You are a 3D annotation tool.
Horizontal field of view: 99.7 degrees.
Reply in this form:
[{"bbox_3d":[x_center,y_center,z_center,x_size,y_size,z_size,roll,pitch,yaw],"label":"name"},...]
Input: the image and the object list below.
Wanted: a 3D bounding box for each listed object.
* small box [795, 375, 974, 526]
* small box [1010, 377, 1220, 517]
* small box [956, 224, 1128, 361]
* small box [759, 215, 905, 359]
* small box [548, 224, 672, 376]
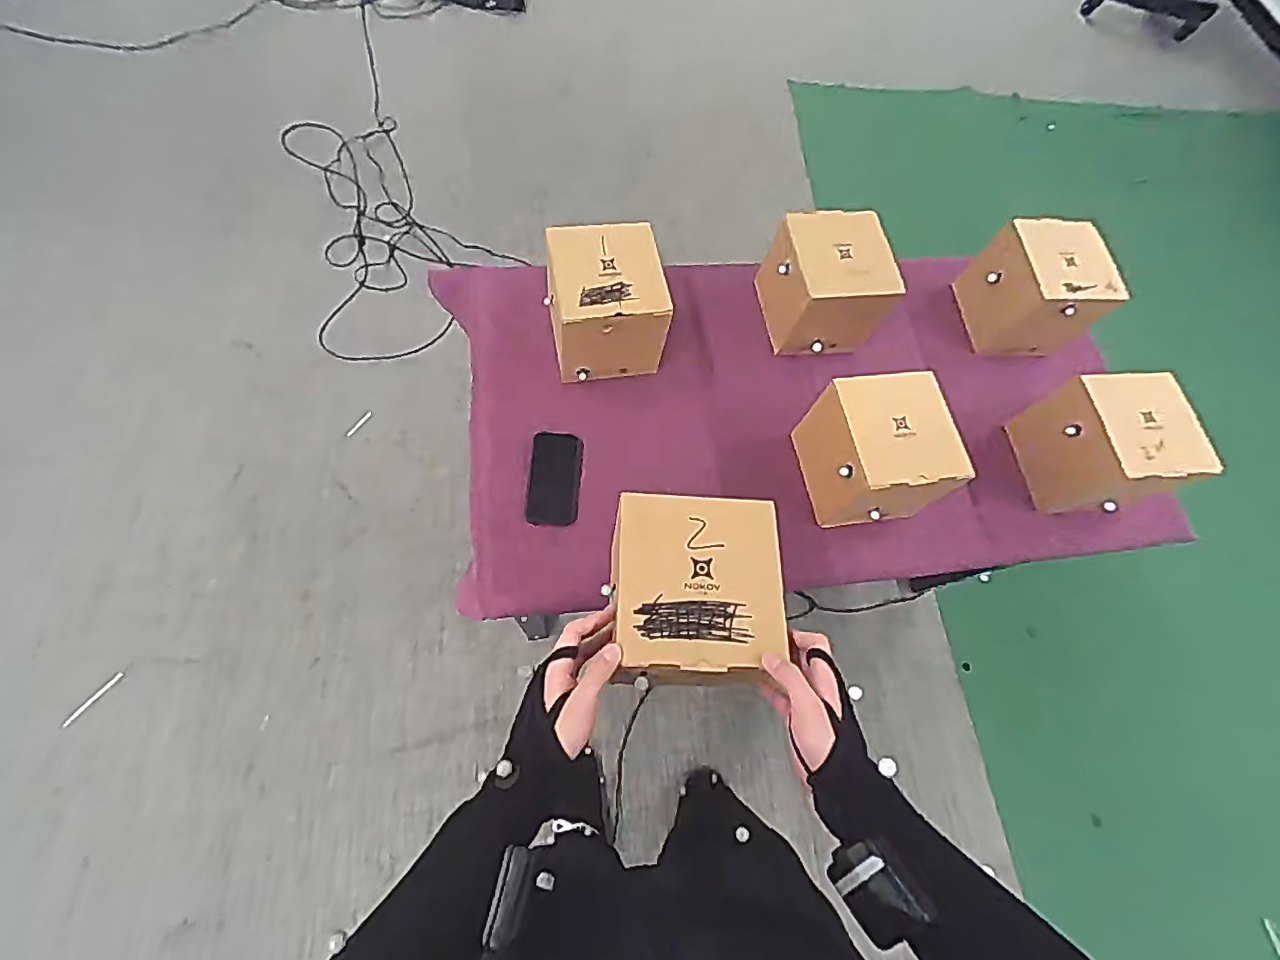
[{"bbox_3d":[0.360,-0.042,0.838,0.168,0.176,0.179,-5,68,-10],"label":"small box"},{"bbox_3d":[0.758,-0.050,0.889,0.168,0.176,0.179,-2,68,-7],"label":"small box"},{"bbox_3d":[0.730,-0.343,1.008,0.168,0.176,0.179,-2,68,-7],"label":"small box"},{"bbox_3d":[0.323,-0.335,0.953,0.168,0.176,0.179,-5,70,-8],"label":"small box"},{"bbox_3d":[-0.055,-0.282,0.879,0.168,0.176,0.179,-7,69,-11],"label":"small box"}]
